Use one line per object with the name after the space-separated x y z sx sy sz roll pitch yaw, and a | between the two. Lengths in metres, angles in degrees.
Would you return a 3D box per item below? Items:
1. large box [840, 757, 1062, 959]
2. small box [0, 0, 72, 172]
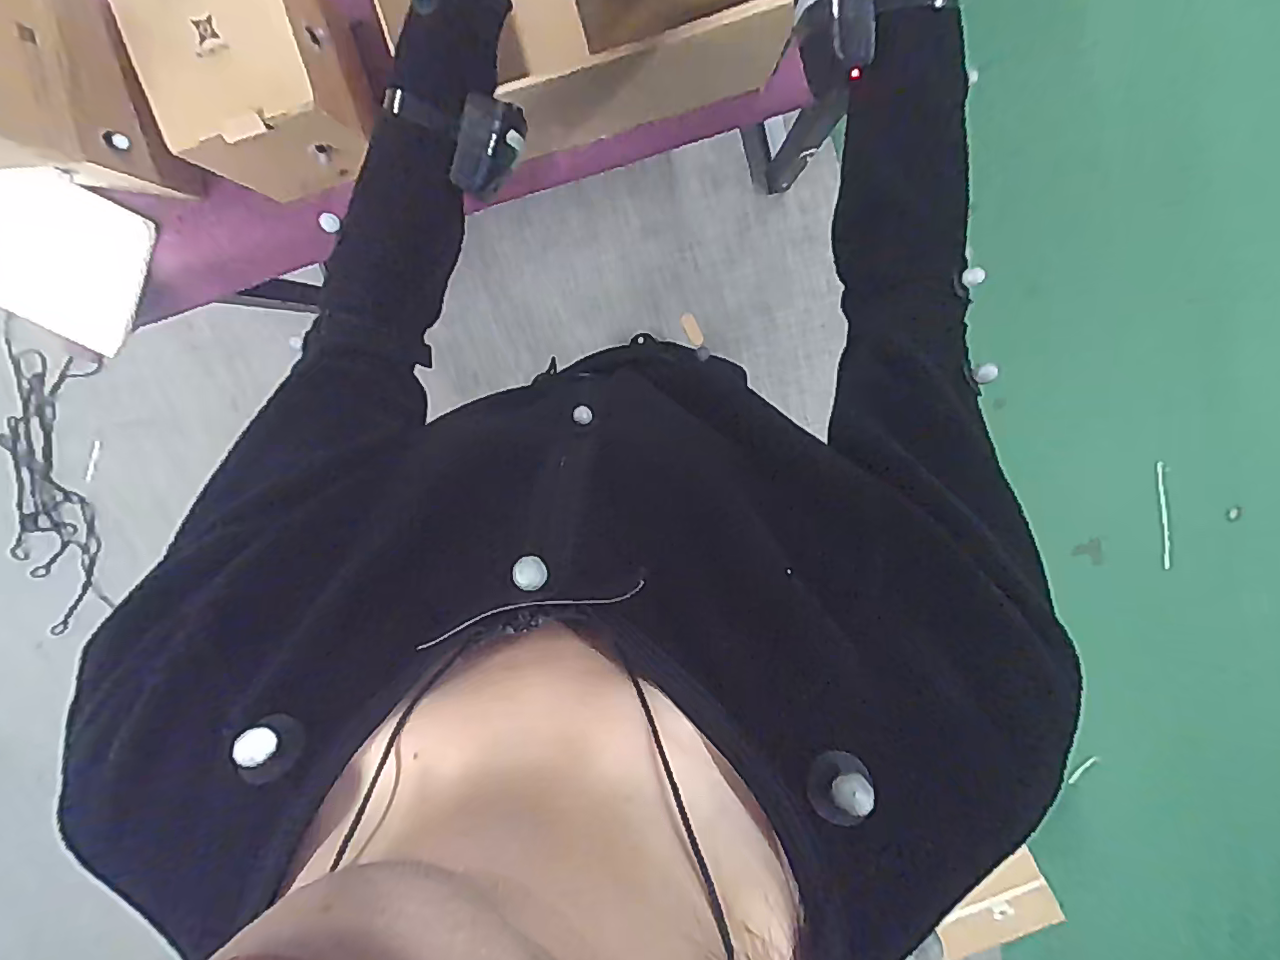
0.870 1.100 1.567 0.408 0.320 0.320 -30 100 7 | large box
-0.653 -0.380 0.462 0.179 0.176 0.168 -2 102 3 | small box
